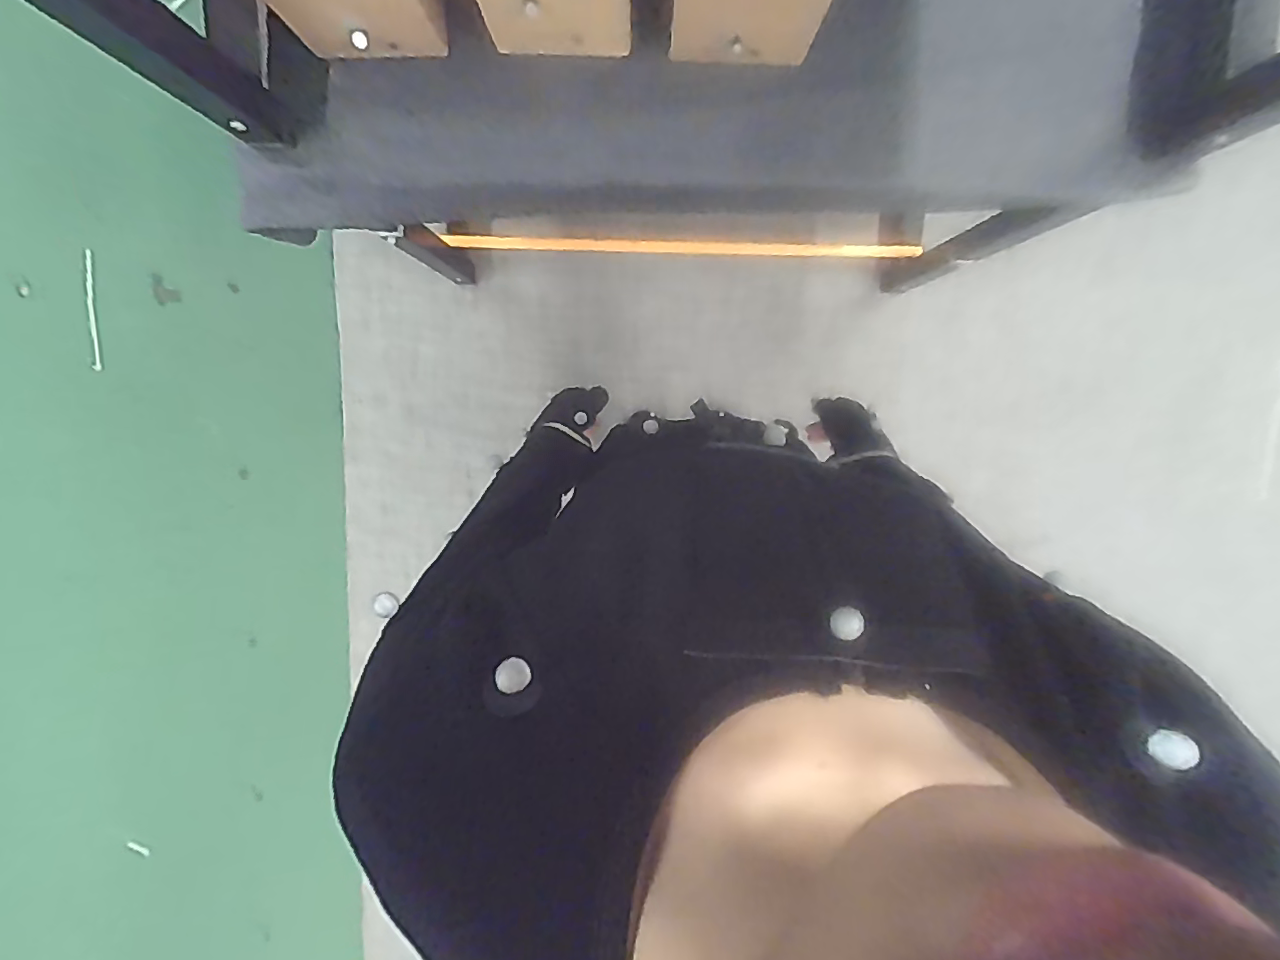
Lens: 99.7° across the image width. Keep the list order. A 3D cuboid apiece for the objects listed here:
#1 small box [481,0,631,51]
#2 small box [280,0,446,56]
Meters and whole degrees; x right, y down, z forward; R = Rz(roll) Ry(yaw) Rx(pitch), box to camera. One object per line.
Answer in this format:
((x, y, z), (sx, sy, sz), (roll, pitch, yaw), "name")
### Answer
((-0.093, -0.604, 0.580), (0.168, 0.176, 0.179), (2, 97, 0), "small box")
((-0.320, -0.604, 0.580), (0.168, 0.176, 0.179), (-1, 98, 1), "small box")
